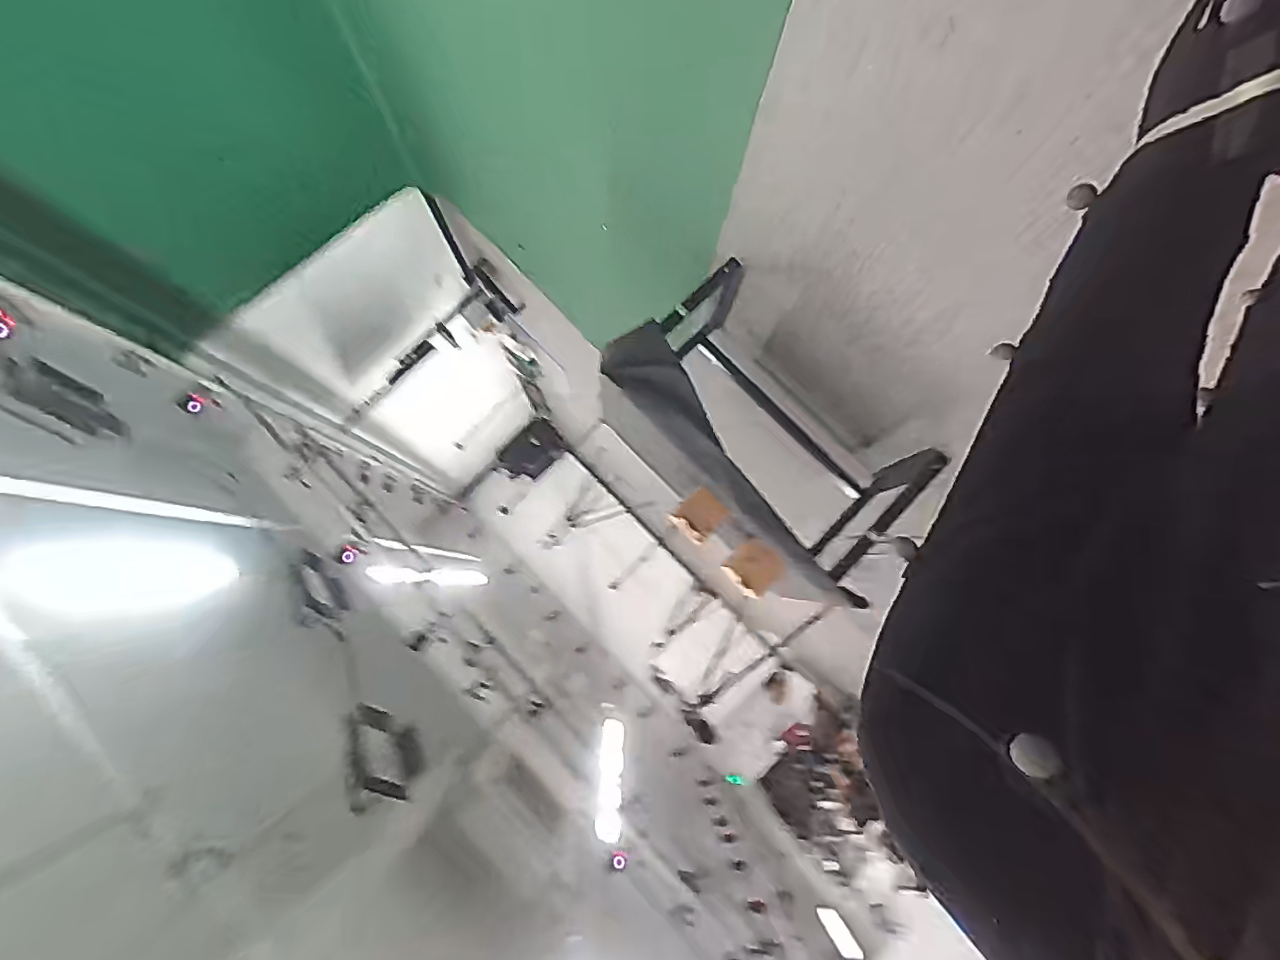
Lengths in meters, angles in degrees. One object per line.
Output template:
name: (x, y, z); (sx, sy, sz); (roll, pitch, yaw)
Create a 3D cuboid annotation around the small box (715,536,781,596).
small box: (0.424, 0.330, 2.108); (0.168, 0.176, 0.179); (47, 173, 2)
